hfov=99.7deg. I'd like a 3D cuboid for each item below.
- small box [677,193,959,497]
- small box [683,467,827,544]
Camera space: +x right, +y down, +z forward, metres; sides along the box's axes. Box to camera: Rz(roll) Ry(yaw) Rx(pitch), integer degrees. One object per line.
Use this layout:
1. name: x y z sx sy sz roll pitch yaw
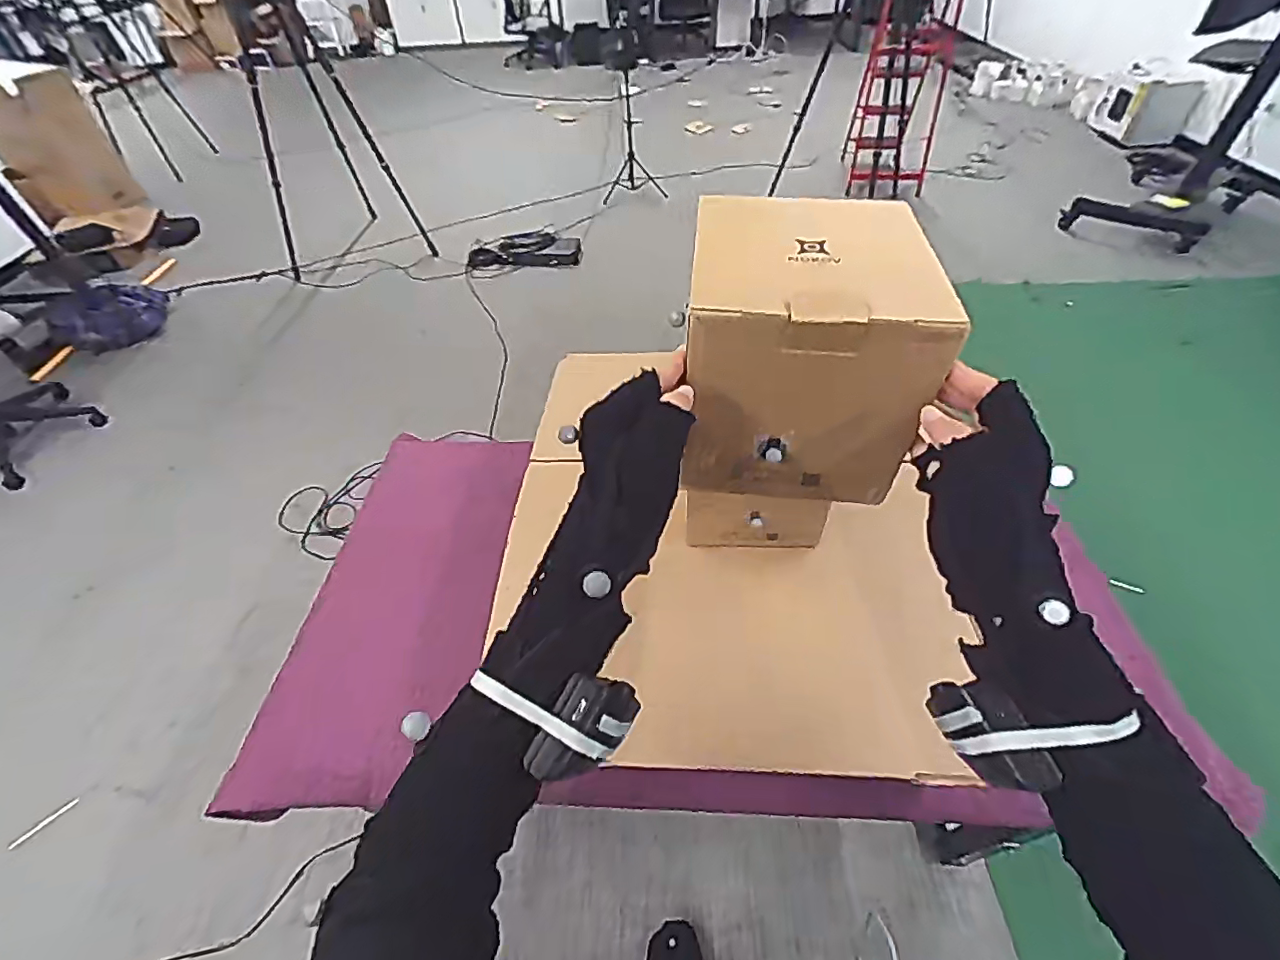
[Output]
1. small box: 0.119 -0.110 0.443 0.168 0.176 0.179 4 50 4
2. small box: 0.139 -0.041 0.682 0.168 0.176 0.179 0 47 5
